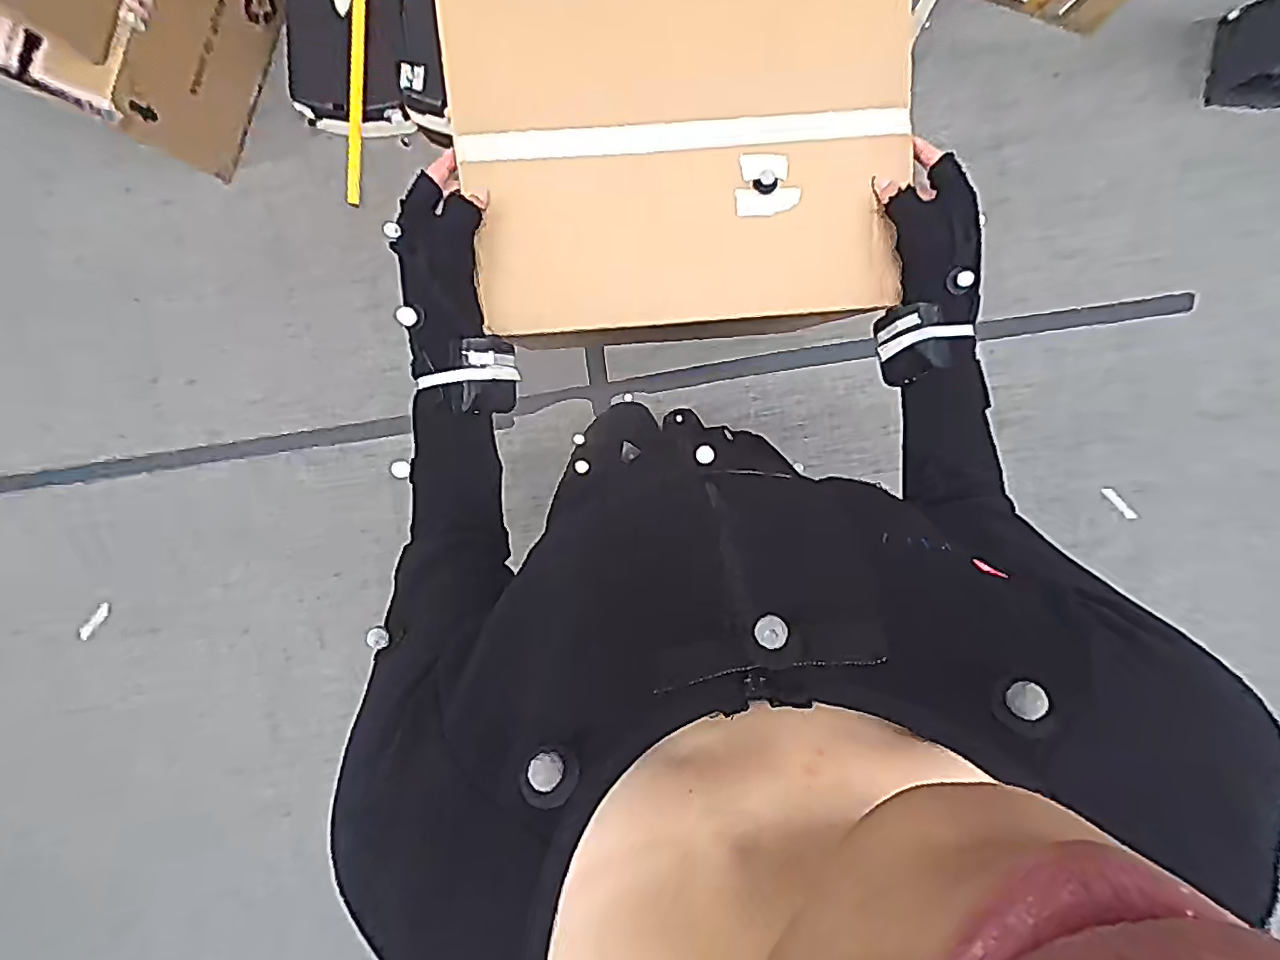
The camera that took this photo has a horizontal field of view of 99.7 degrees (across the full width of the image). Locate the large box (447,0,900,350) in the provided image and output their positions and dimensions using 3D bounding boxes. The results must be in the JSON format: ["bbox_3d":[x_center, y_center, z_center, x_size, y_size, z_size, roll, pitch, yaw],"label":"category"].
[{"bbox_3d":[0.030,-0.335,0.638,0.408,0.320,0.320,-5,101,-3],"label":"large box"}]
